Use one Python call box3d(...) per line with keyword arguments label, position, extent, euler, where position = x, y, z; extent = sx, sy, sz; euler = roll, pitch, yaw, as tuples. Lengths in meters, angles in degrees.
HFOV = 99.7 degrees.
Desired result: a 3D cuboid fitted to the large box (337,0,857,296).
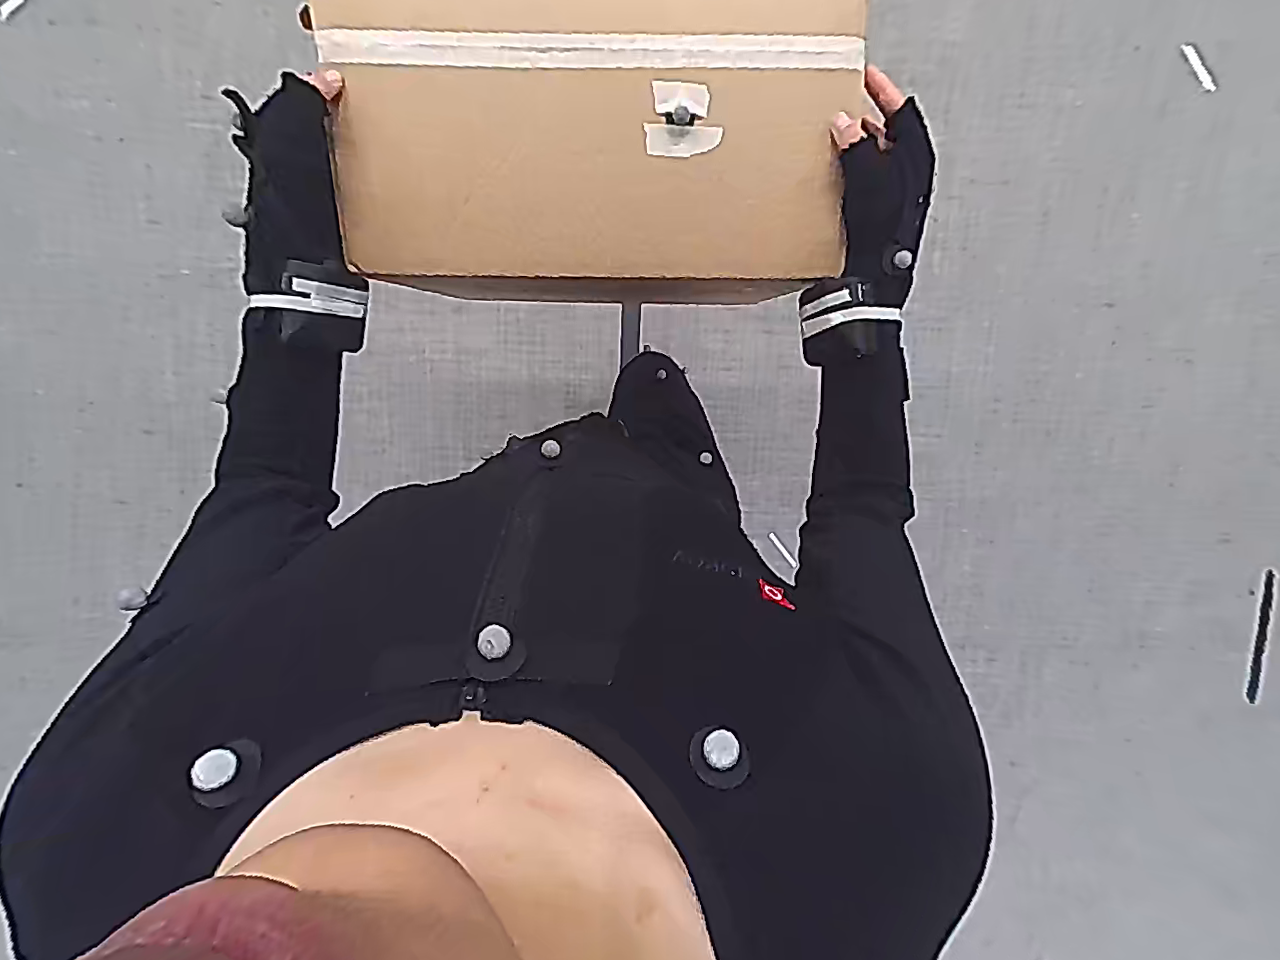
box3d(label="large box", position=(-0.036, -0.369, 0.564), extent=(0.408, 0.320, 0.320), euler=(0, 105, -2))
